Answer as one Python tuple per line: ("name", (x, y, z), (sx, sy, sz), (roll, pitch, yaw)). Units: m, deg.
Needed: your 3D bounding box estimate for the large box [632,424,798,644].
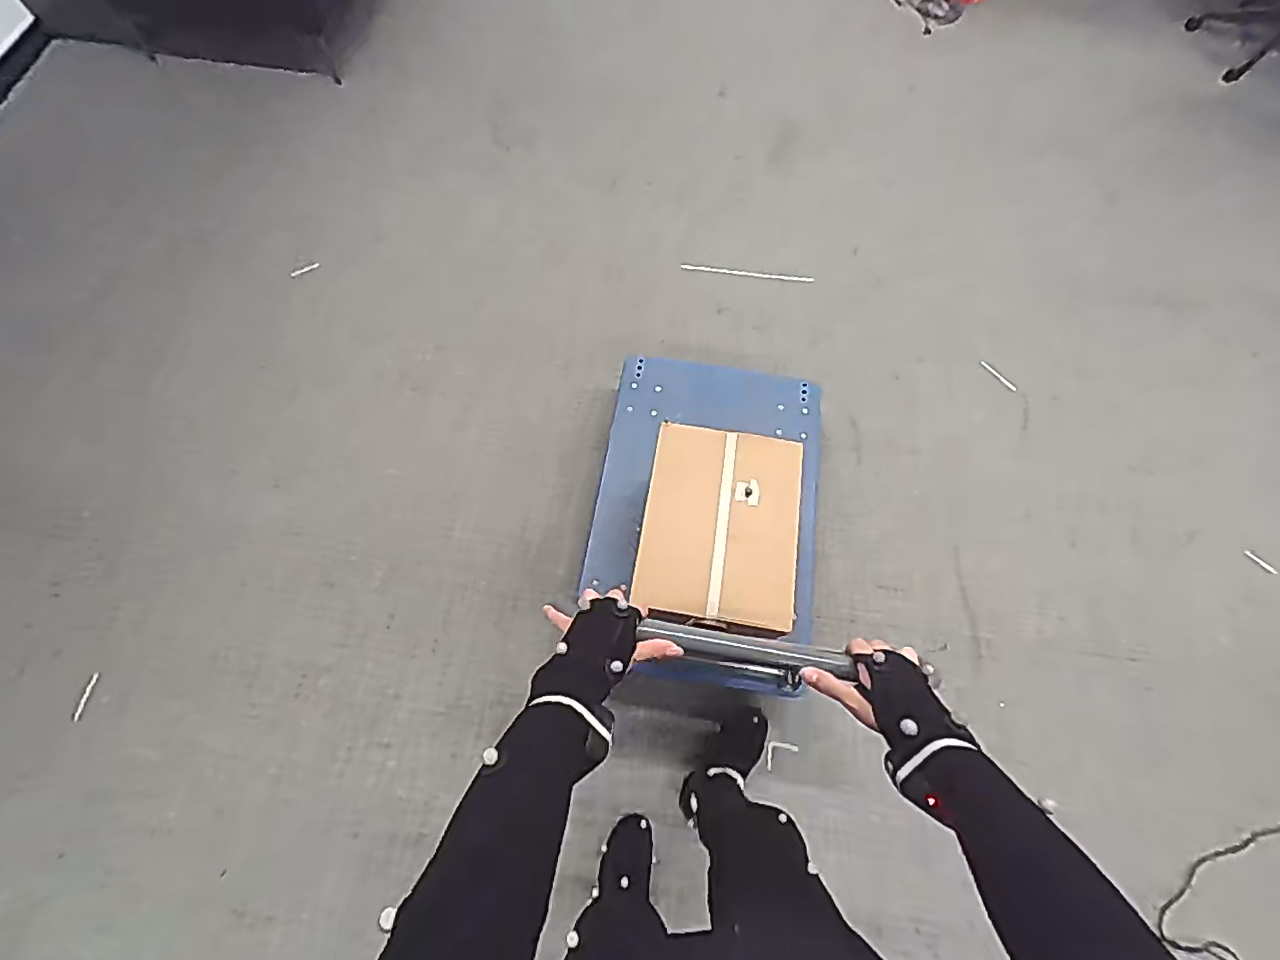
("large box", (0.162, 0.136, 1.233), (0.320, 0.320, 0.408), (9, 67, 2))
